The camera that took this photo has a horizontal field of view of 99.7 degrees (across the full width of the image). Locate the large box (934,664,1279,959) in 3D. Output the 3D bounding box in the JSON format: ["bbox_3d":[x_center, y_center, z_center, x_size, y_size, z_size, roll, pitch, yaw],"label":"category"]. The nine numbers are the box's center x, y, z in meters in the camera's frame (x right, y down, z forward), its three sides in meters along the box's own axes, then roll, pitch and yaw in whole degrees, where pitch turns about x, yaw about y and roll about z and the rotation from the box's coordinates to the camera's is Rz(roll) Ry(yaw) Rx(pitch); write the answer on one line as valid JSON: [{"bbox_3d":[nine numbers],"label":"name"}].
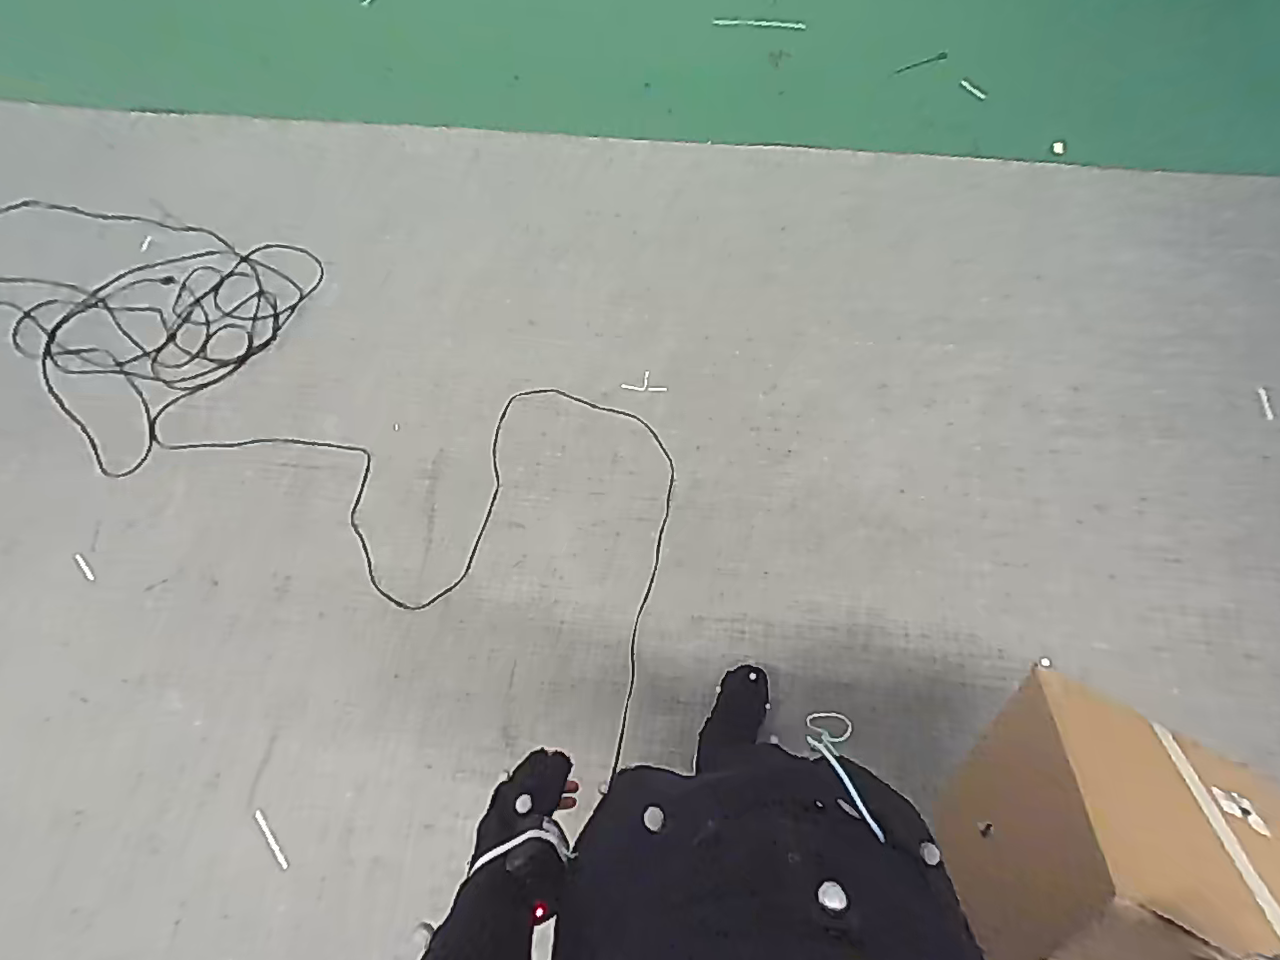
[{"bbox_3d":[0.599,0.523,0.669,0.320,0.408,0.320,28,114,18],"label":"large box"}]
